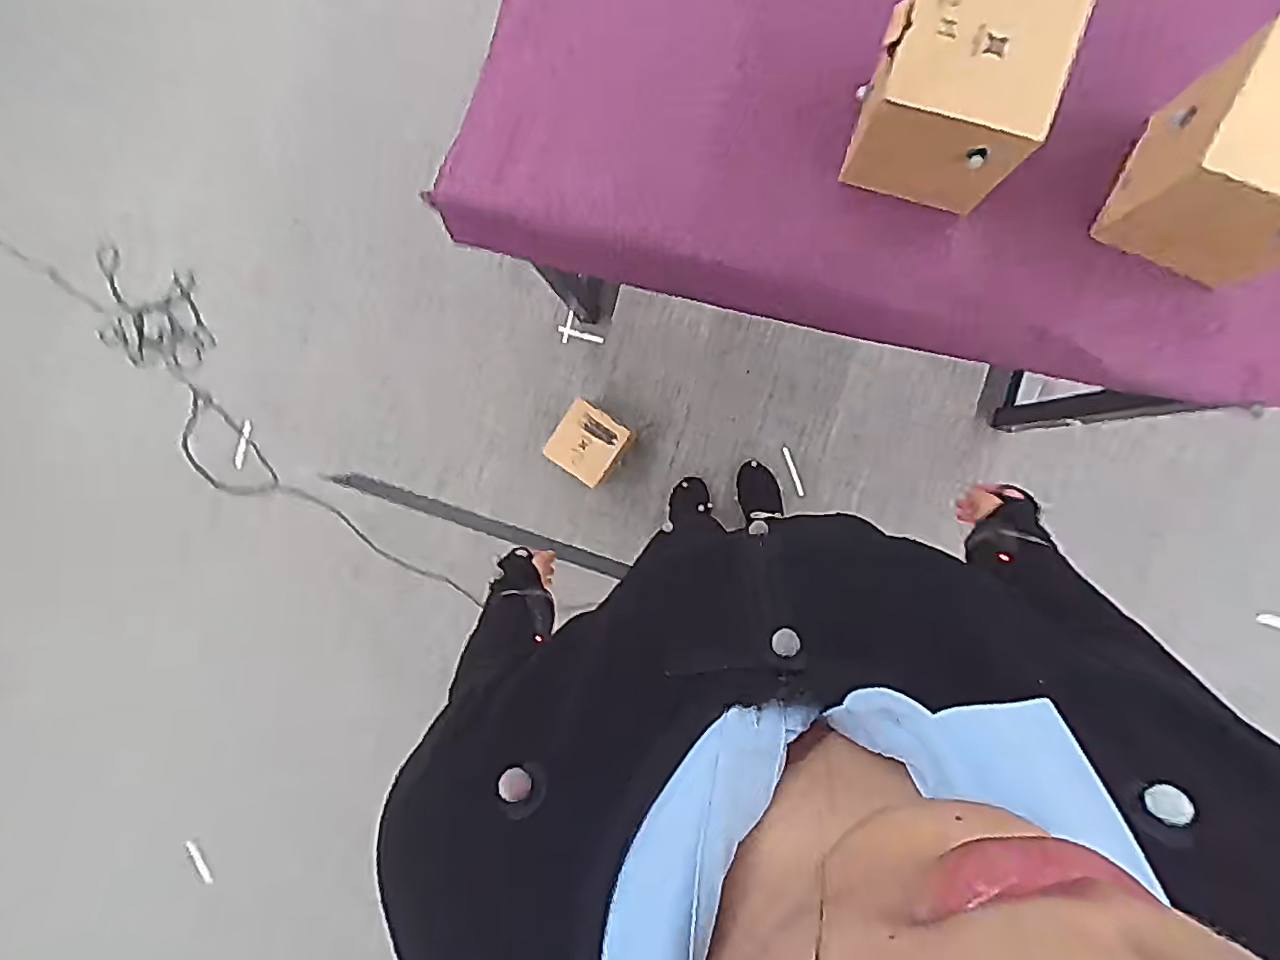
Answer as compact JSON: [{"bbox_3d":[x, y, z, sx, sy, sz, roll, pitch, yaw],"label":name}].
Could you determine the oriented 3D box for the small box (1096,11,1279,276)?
[{"bbox_3d":[0.682,-0.357,0.609,0.179,0.176,0.168,26,94,6],"label":"small box"}]

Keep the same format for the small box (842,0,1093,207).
[{"bbox_3d":[0.369,-0.456,0.643,0.179,0.176,0.168,18,92,6],"label":"small box"}]
